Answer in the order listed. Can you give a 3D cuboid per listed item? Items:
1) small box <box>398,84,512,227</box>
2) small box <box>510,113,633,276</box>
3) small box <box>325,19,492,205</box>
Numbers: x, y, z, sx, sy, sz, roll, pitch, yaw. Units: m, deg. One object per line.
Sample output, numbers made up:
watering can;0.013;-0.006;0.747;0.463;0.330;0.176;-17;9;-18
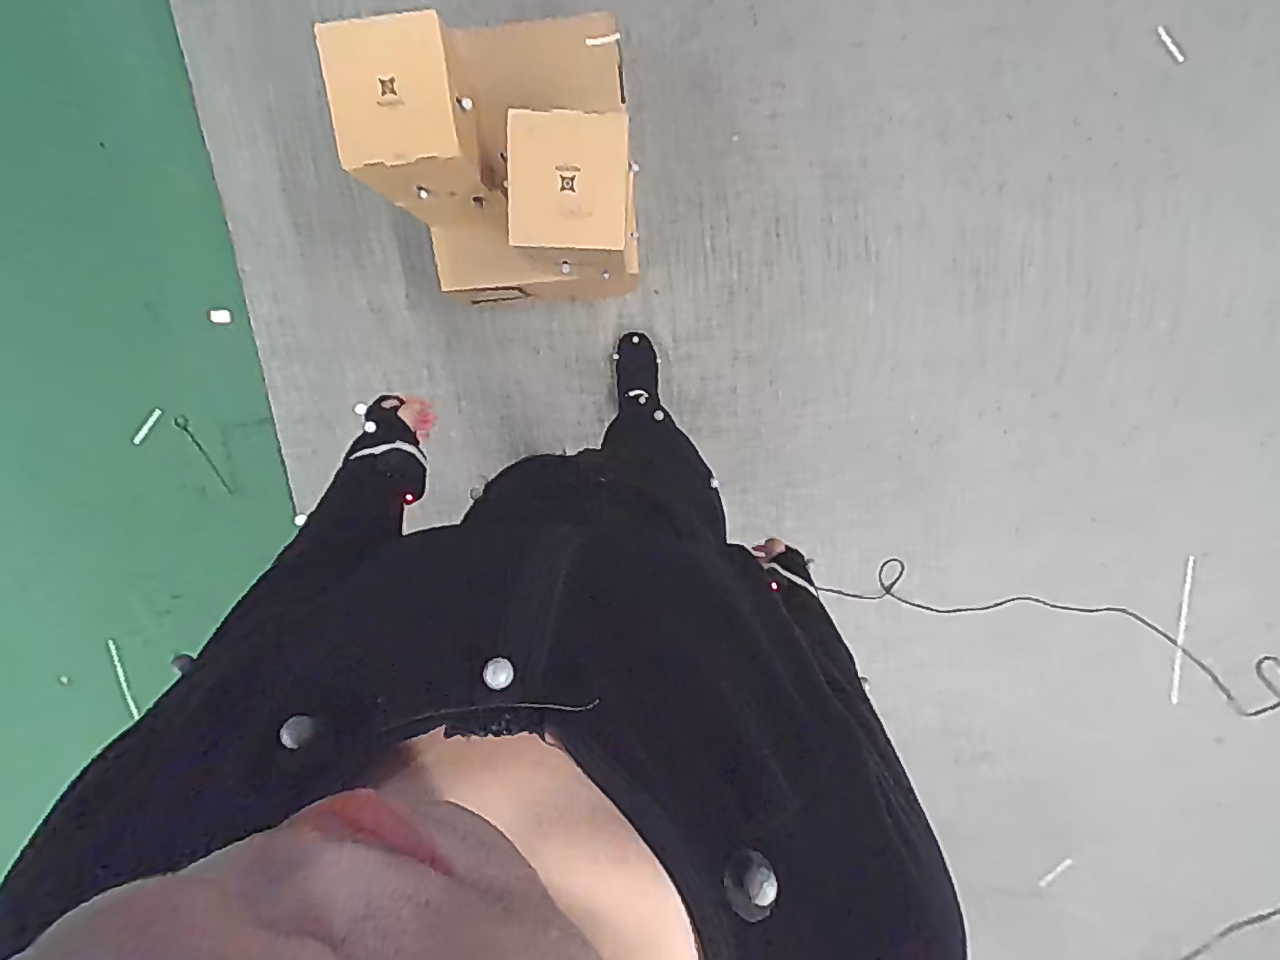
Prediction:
small box;-0.326;-0.565;0.964;0.179;0.176;0.168;-6;101;2
small box;-0.099;-0.422;0.826;0.168;0.176;0.179;3;102;-1
small box;-0.329;-0.531;0.804;0.168;0.176;0.179;-4;102;1
